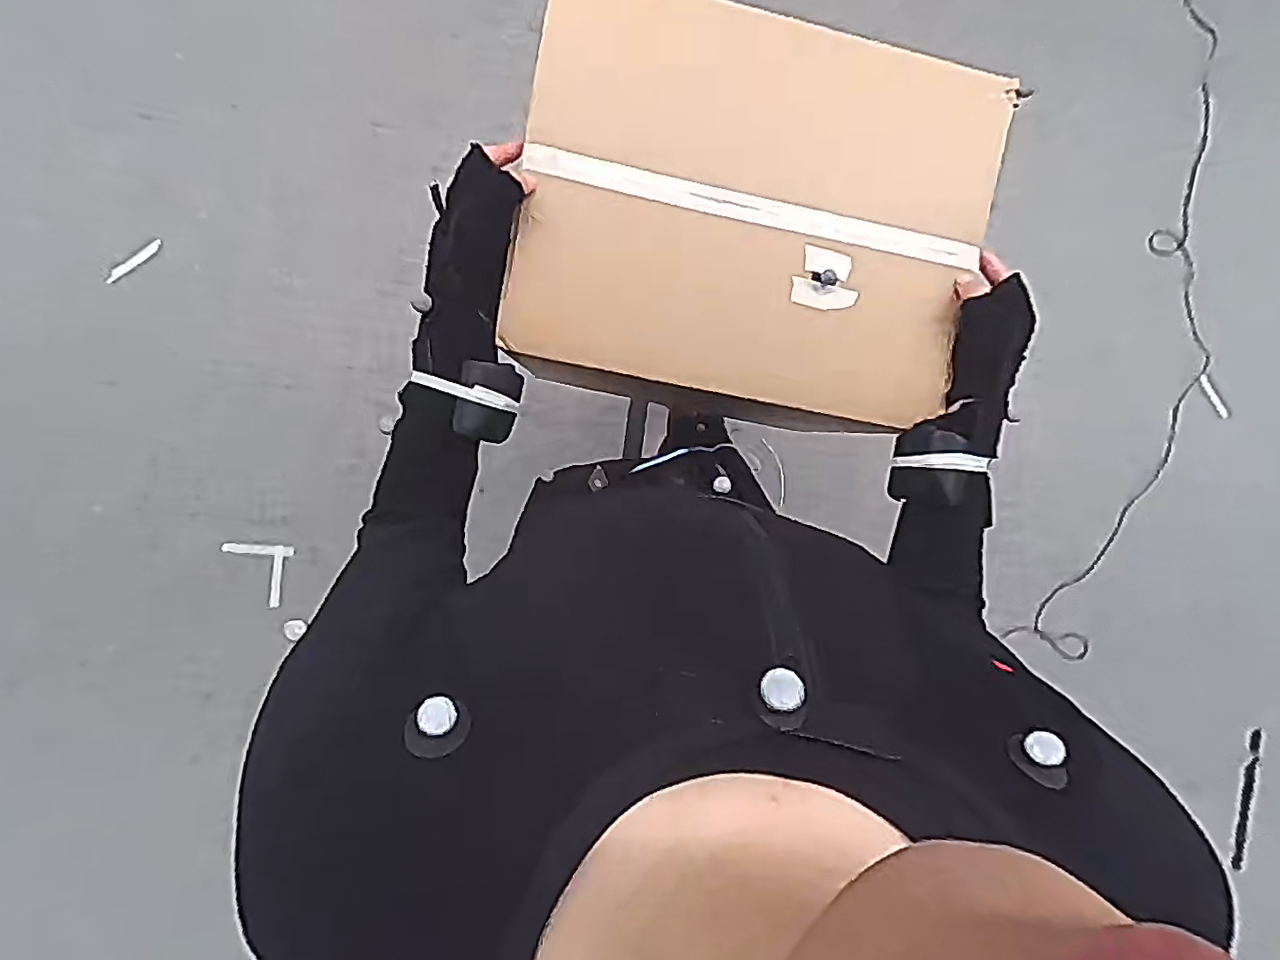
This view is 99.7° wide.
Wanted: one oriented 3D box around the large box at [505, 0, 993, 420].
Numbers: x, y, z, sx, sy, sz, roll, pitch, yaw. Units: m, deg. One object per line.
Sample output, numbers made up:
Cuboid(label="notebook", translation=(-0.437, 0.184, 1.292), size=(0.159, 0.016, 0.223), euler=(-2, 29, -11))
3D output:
Cuboid(label="large box", translation=(0.084, -0.254, 0.625), size=(0.408, 0.320, 0.320), euler=(10, 96, -7))
